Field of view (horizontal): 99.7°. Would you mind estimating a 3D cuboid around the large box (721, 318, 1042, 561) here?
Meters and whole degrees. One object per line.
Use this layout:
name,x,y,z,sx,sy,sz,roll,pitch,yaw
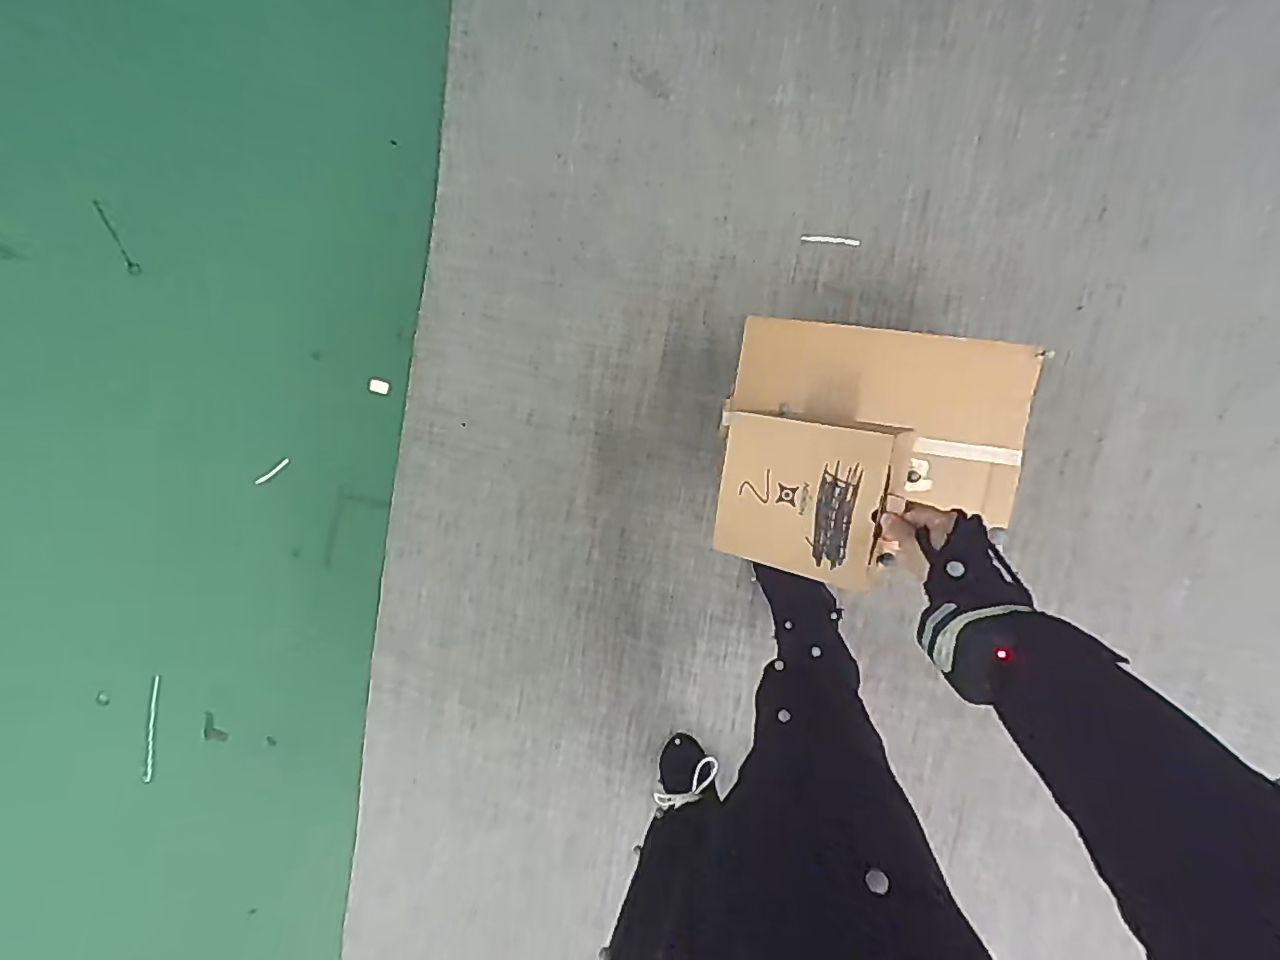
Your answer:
large box,0.361,-0.072,0.927,0.408,0.320,0.320,9,96,10
